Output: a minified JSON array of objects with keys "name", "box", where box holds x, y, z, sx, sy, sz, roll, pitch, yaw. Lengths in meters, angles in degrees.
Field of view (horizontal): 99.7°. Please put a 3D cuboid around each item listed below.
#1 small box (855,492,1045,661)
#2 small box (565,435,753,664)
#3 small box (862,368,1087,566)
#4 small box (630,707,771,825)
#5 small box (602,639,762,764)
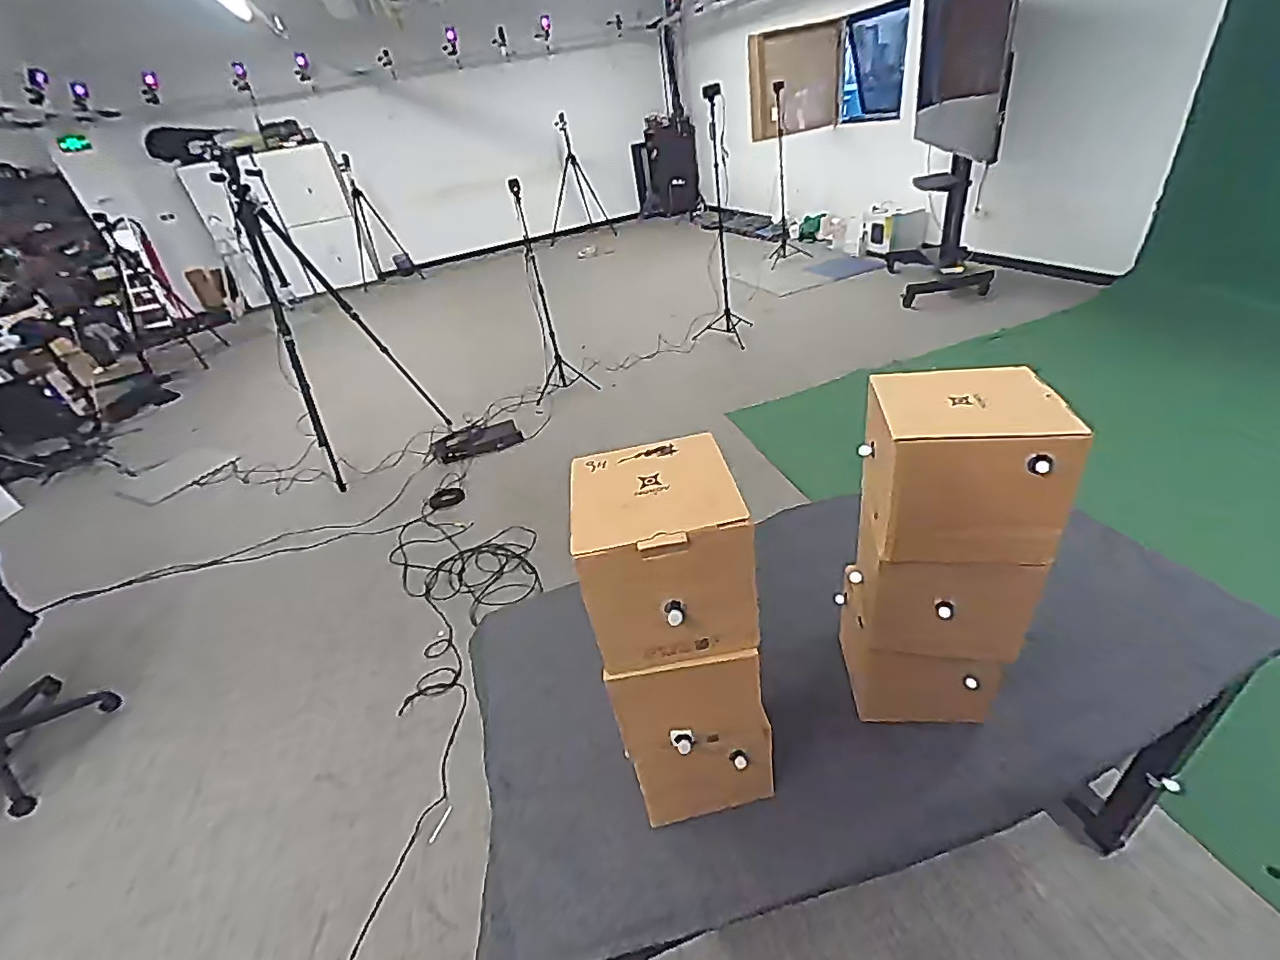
[{"name":"small box","box":[0.388,0.117,0.715,0.179,0.176,0.168,0,34,16]},{"name":"small box","box":[0.020,0.078,0.587,0.168,0.176,0.179,-11,34,1]},{"name":"small box","box":[0.360,-0.016,0.626,0.179,0.176,0.168,-1,34,14]},{"name":"small box","box":[0.075,0.347,0.764,0.179,0.176,0.168,-13,33,-3]},{"name":"small box","box":[0.048,0.216,0.672,0.168,0.176,0.179,-11,34,2]}]
